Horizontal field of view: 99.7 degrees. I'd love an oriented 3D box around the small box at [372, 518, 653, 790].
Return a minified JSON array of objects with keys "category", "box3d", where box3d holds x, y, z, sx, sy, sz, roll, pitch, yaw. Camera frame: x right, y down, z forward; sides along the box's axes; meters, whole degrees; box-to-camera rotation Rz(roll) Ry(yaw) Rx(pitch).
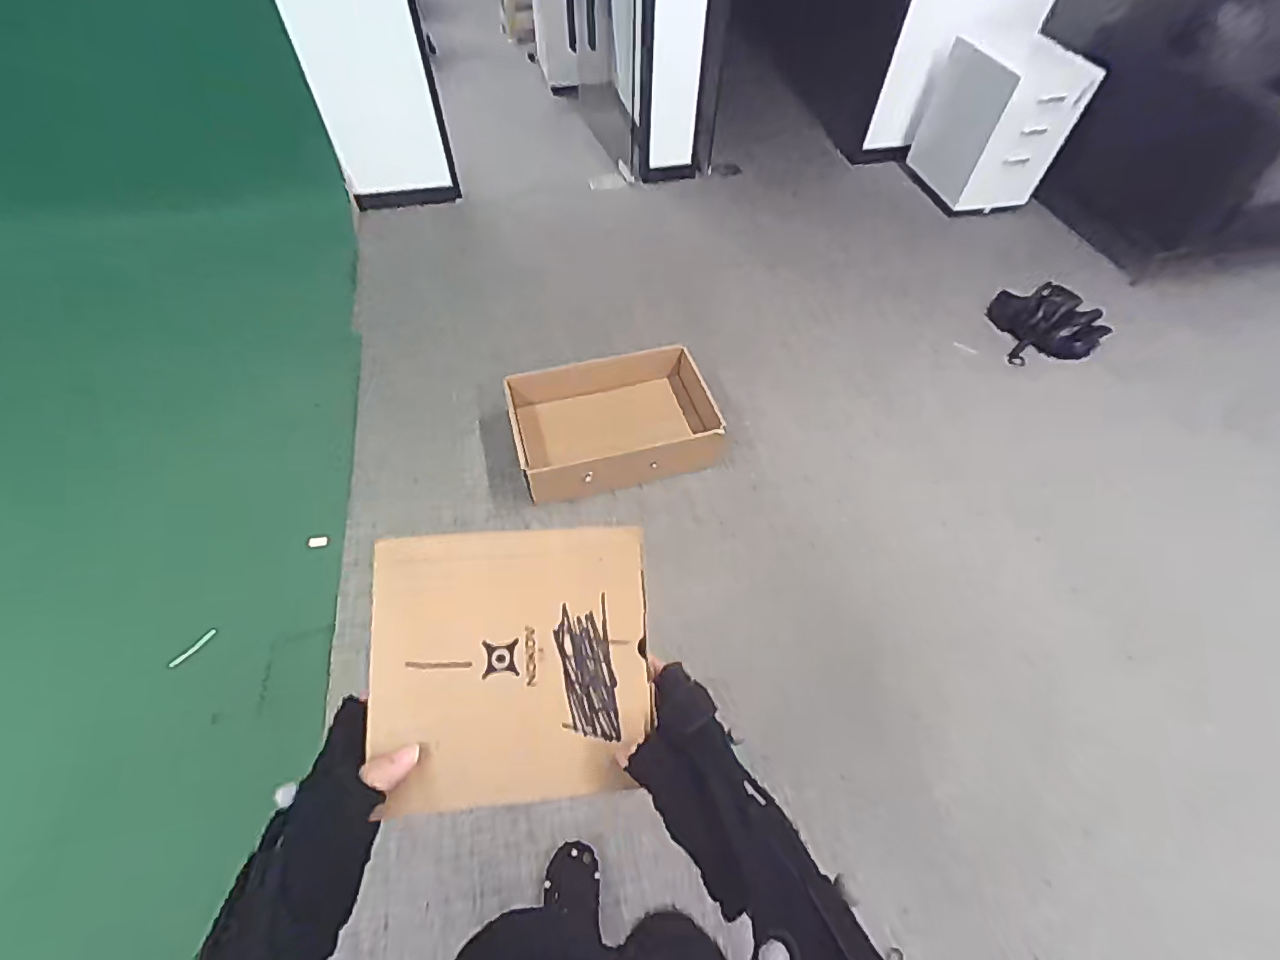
[{"category":"small box","box3d":[-0.091,0.125,0.434,0.179,0.176,0.168,-2,77,-7]}]
